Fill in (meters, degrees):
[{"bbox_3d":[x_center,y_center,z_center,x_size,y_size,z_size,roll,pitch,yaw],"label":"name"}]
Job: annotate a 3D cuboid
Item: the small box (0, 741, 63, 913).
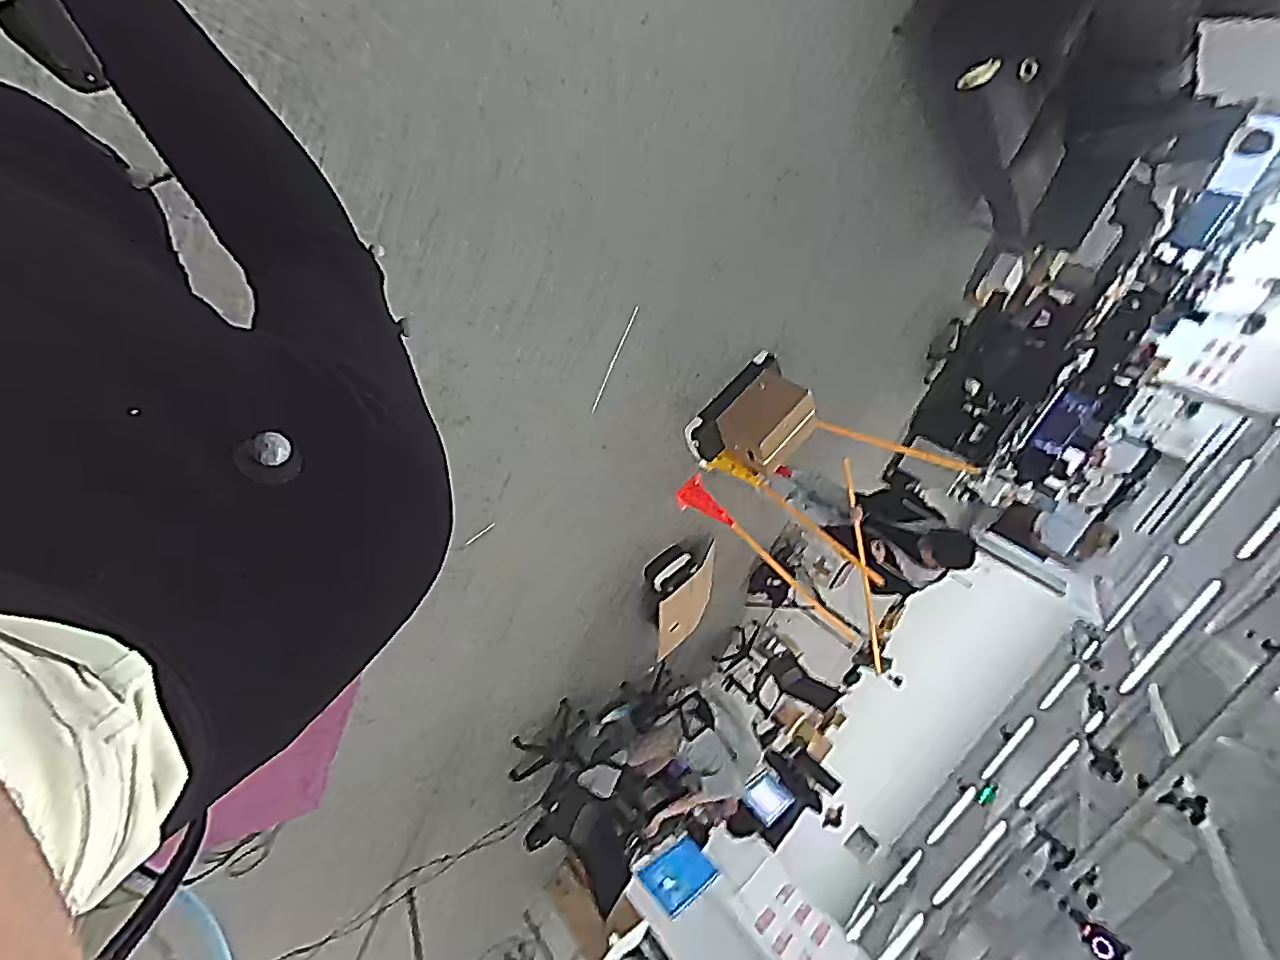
[{"bbox_3d":[-0.954,0.505,0.769,0.168,0.176,0.179,1,120,-50],"label":"small box"}]
